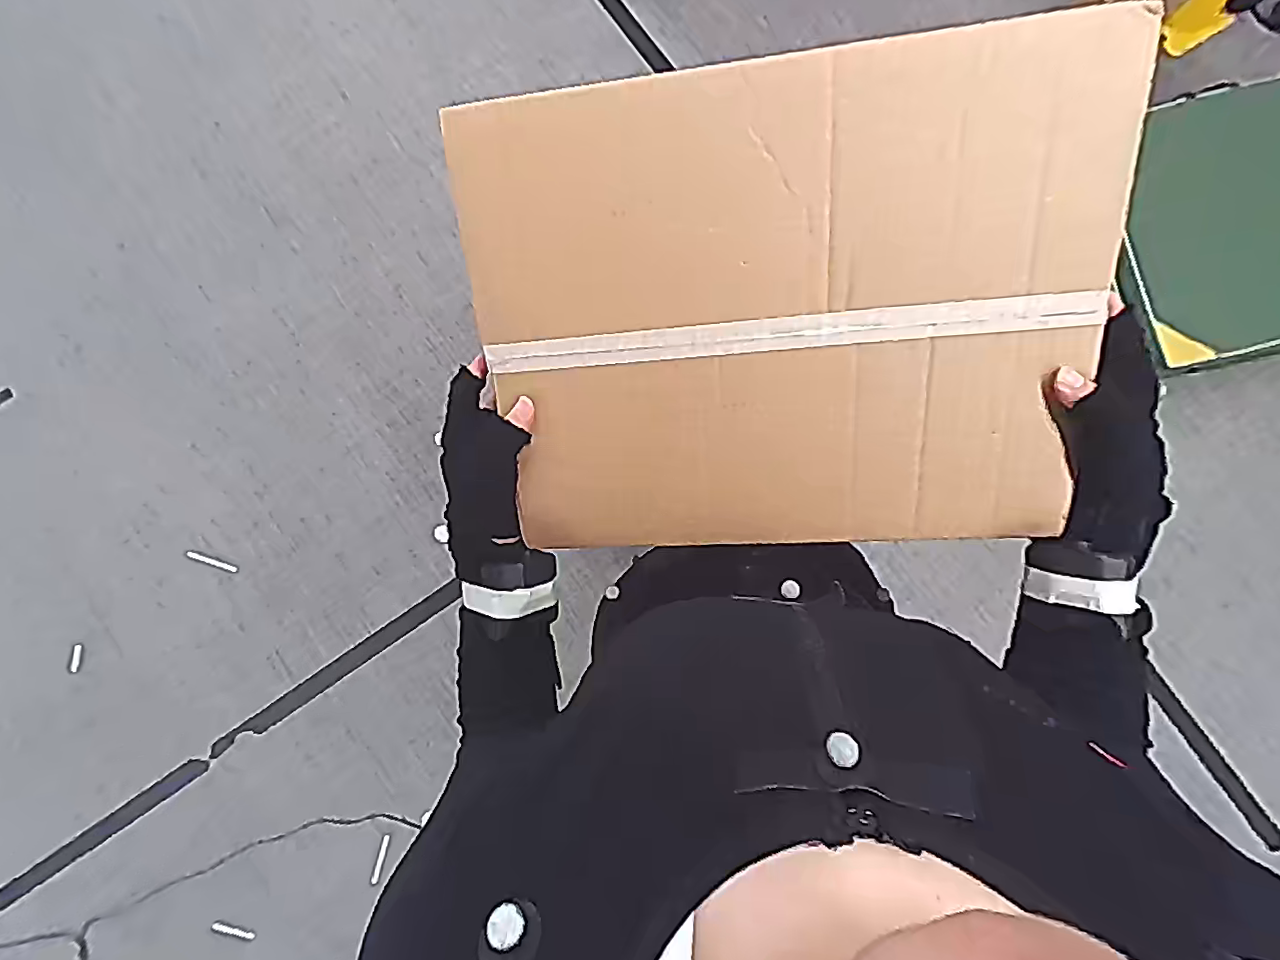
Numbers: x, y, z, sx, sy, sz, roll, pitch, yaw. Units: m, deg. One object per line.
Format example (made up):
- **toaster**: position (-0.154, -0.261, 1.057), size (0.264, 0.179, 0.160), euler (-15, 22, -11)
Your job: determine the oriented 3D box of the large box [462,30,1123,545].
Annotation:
- **large box**: position (0.106, -0.150, 0.519), size (0.408, 0.320, 0.320), euler (-3, 112, 8)
